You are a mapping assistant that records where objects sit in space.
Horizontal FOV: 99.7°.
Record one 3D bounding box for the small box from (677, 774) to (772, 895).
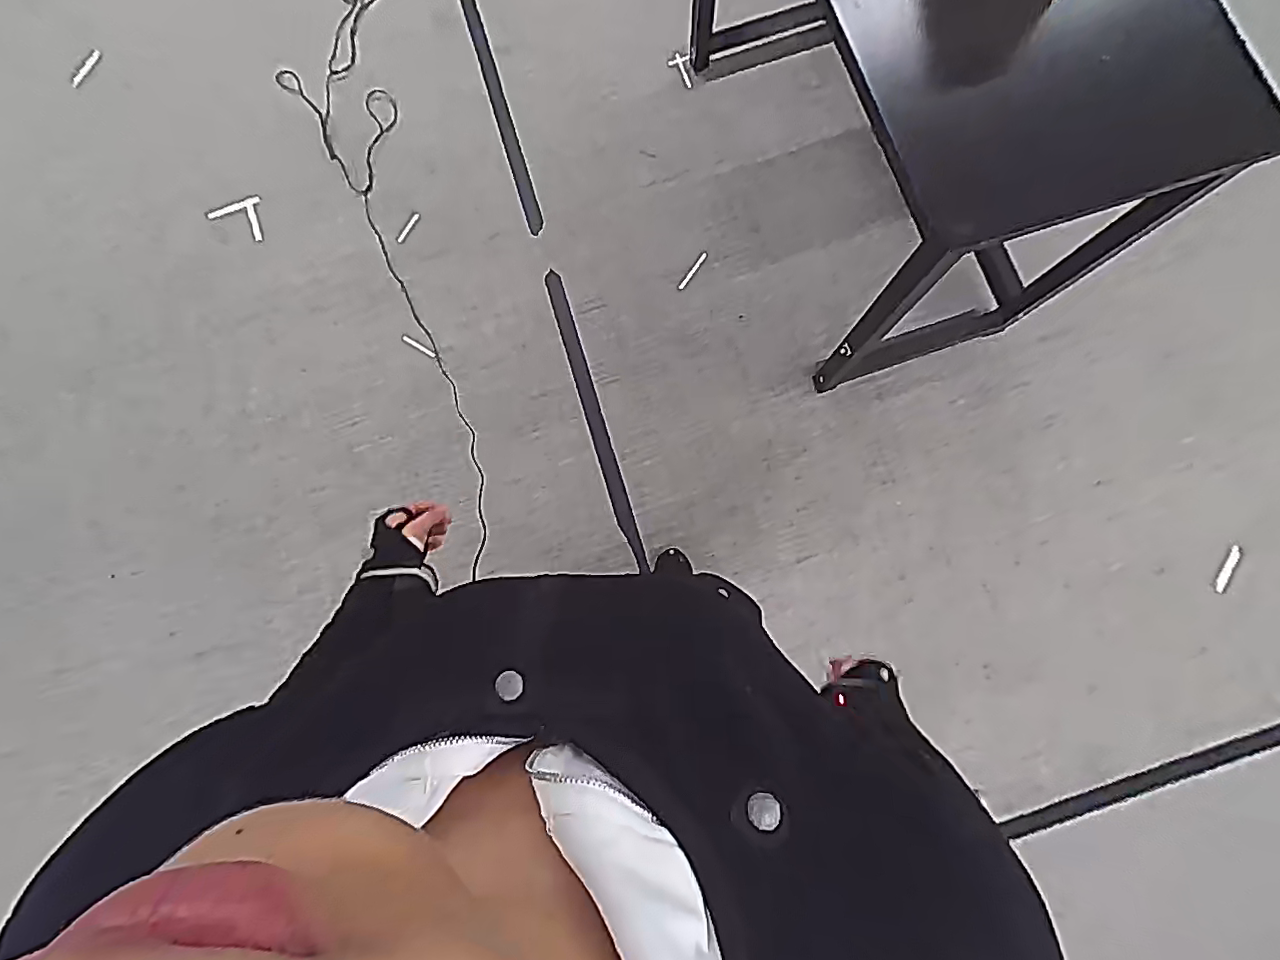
[{"bbox_3d":[0.197,0.846,1.309,0.179,0.176,0.168,-18,81,-1],"label":"small box"}]
